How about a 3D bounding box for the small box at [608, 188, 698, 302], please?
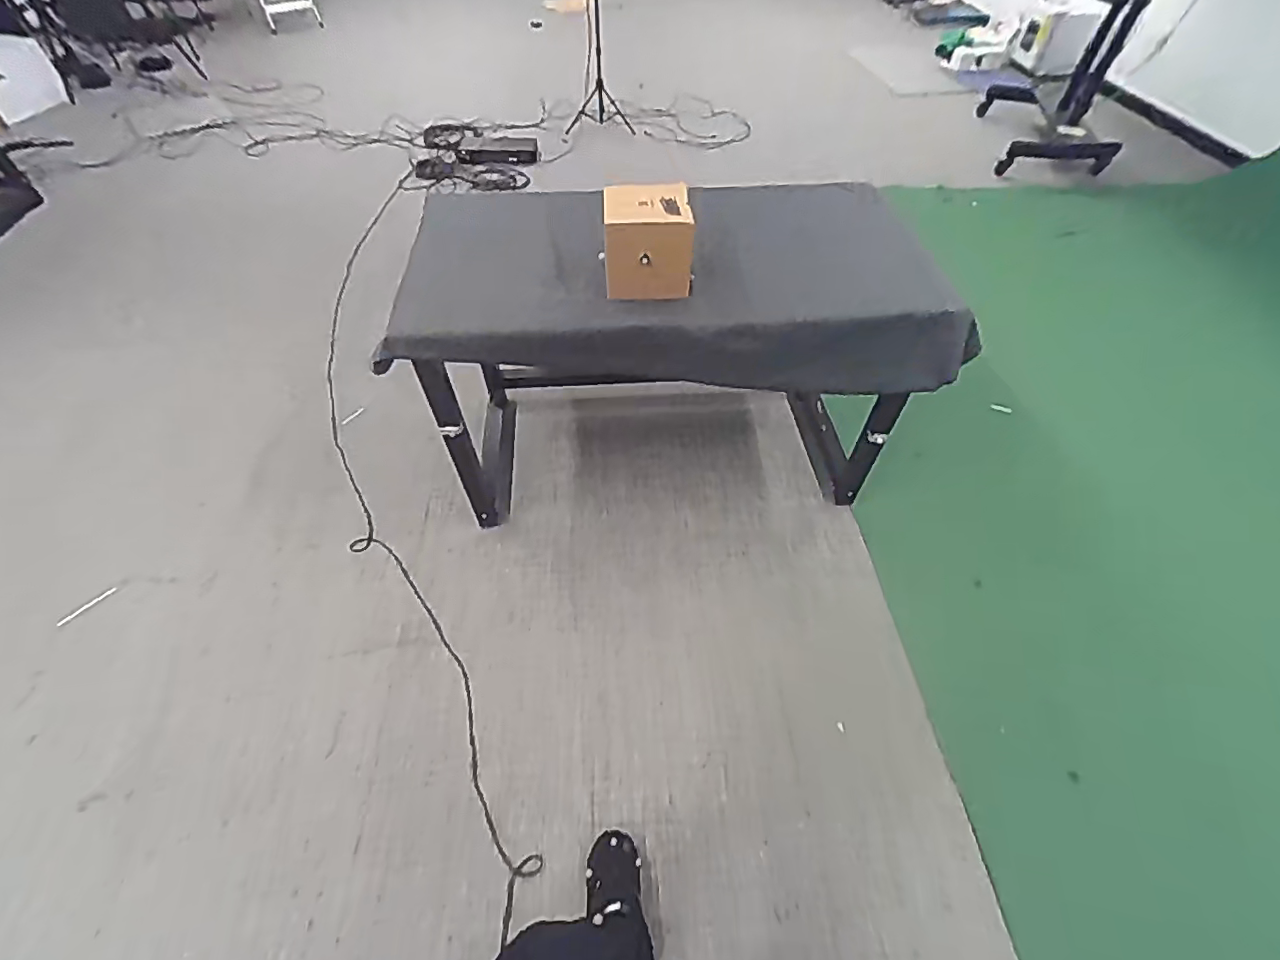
[{"bbox_3d":[0.022,-0.497,1.153,0.179,0.176,0.168,-2,51,-1],"label":"small box"}]
